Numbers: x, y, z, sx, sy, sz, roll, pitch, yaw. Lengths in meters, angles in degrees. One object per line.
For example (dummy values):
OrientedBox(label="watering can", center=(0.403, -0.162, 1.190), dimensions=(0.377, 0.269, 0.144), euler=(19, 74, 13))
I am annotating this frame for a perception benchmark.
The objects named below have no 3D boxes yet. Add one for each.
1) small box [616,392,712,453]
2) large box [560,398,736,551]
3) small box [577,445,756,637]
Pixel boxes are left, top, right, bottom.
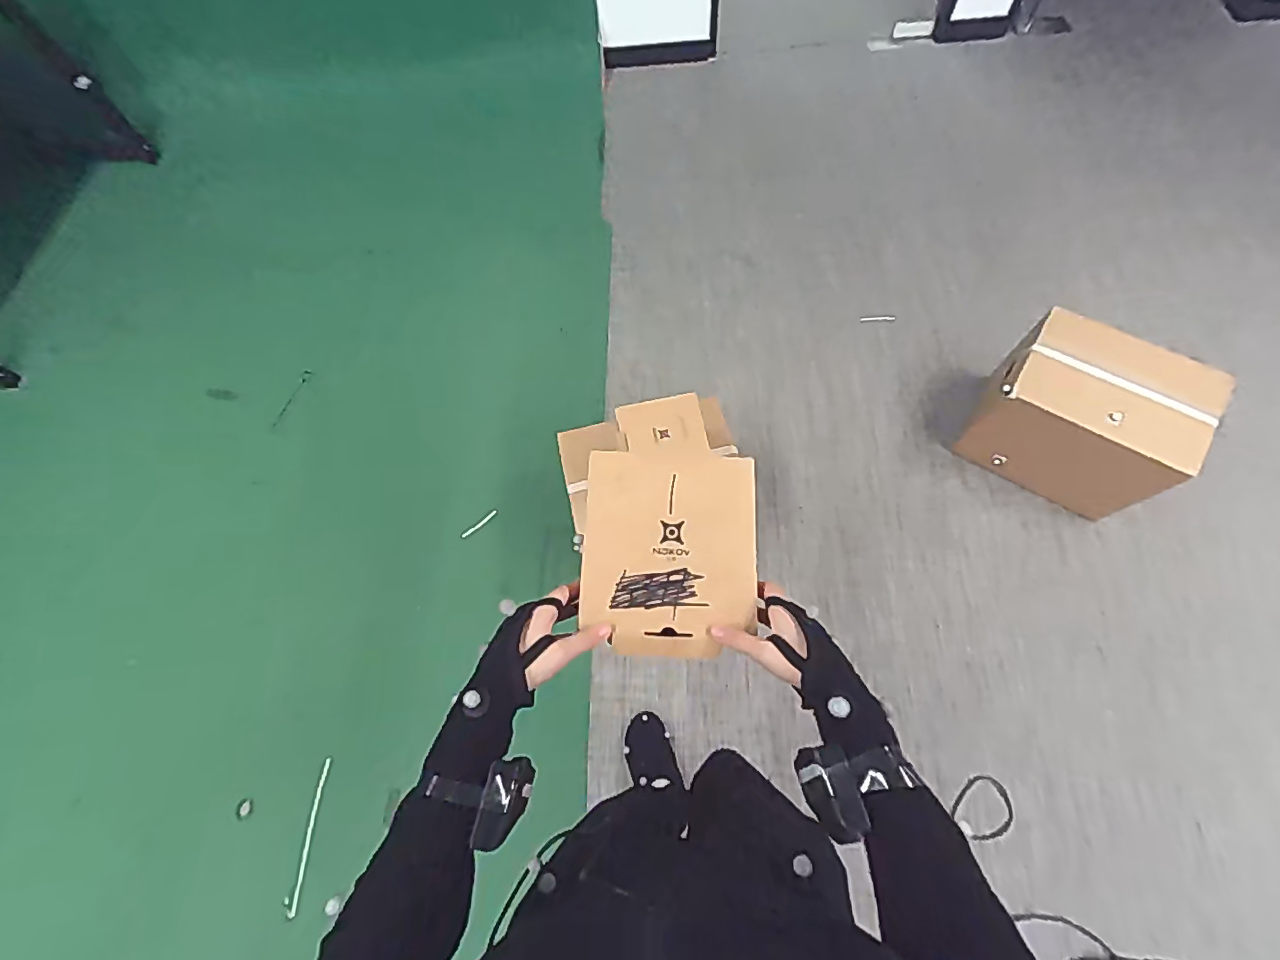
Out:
OrientedBox(label="small box", center=(0.053, -0.064, 1.165), dimensions=(0.179, 0.176, 0.168), euler=(-11, 68, 0))
OrientedBox(label="large box", center=(0.045, 0.040, 1.390), dimensions=(0.408, 0.320, 0.320), euler=(-14, 65, 0))
OrientedBox(label="small box", center=(0.026, 0.075, 0.589), dimensions=(0.168, 0.176, 0.179), euler=(4, 74, -2))
